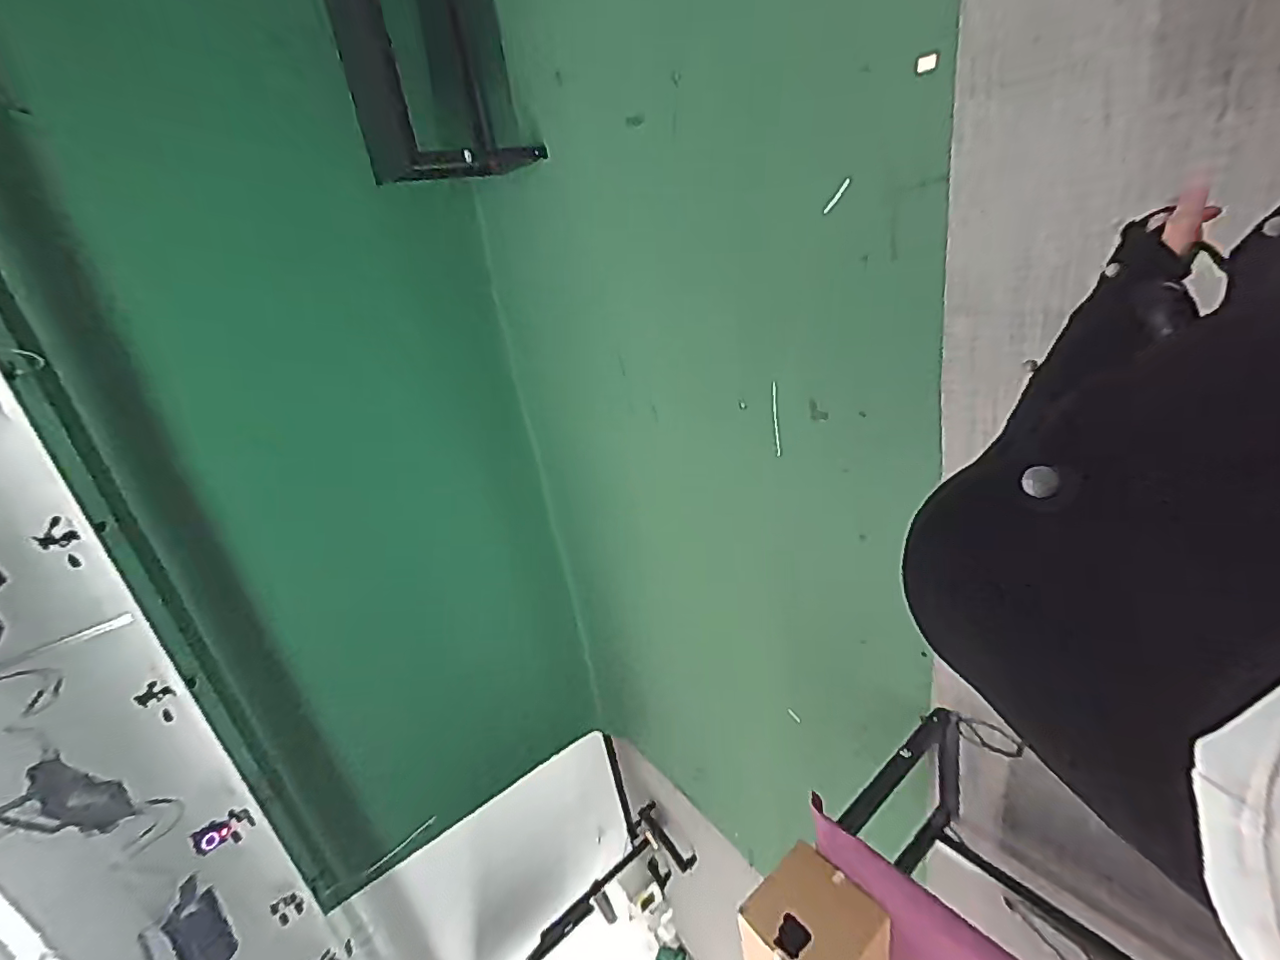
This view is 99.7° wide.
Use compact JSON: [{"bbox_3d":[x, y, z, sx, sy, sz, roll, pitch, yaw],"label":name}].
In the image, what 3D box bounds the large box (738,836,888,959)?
[{"bbox_3d":[0.533,1.420,1.645,0.320,0.320,0.408,17,124,49],"label":"large box"}]
